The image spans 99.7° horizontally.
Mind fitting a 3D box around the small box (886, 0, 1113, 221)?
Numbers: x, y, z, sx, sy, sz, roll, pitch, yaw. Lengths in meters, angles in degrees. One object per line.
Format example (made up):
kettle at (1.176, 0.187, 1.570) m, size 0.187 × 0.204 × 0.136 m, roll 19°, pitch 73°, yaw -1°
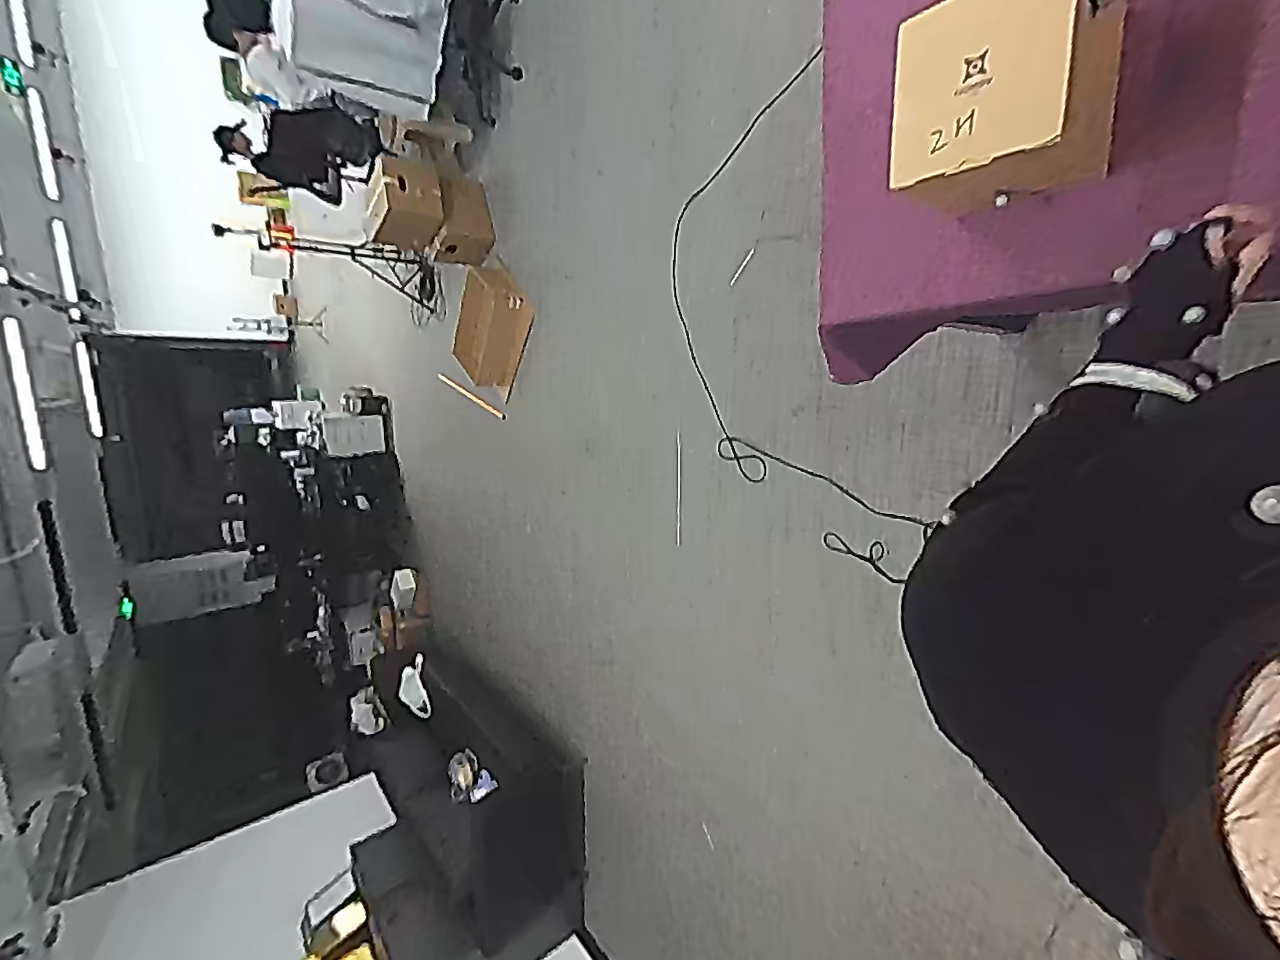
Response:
small box at (0.403, -0.416, 0.608) m, size 0.168 × 0.176 × 0.179 m, roll 11°, pitch 104°, yaw 50°
